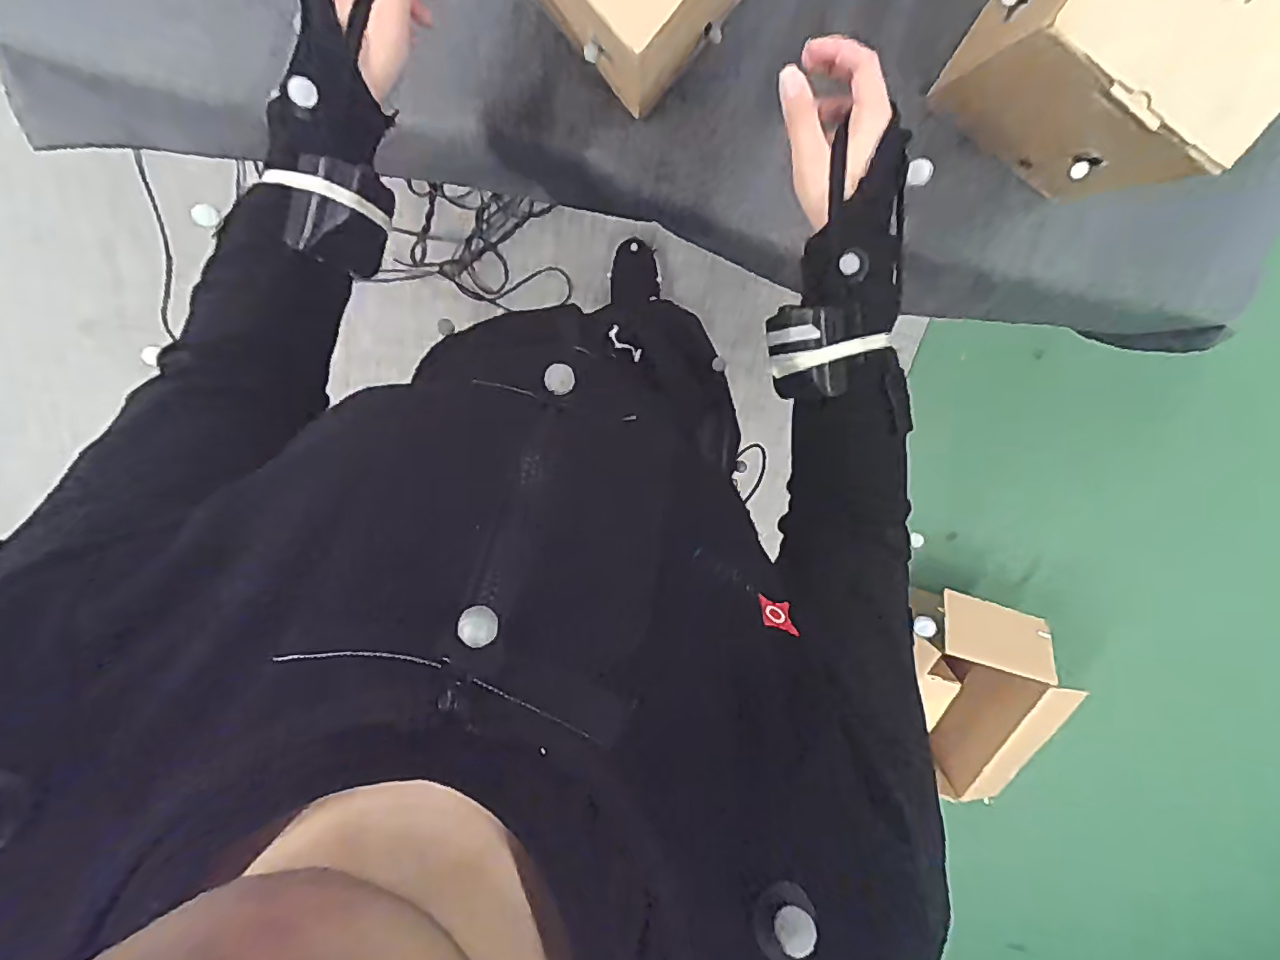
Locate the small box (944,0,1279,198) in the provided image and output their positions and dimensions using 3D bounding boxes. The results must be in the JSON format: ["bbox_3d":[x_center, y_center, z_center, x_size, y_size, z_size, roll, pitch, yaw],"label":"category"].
[{"bbox_3d":[0.365,-0.338,0.398,0.168,0.176,0.179,28,108,-10],"label":"small box"}]
